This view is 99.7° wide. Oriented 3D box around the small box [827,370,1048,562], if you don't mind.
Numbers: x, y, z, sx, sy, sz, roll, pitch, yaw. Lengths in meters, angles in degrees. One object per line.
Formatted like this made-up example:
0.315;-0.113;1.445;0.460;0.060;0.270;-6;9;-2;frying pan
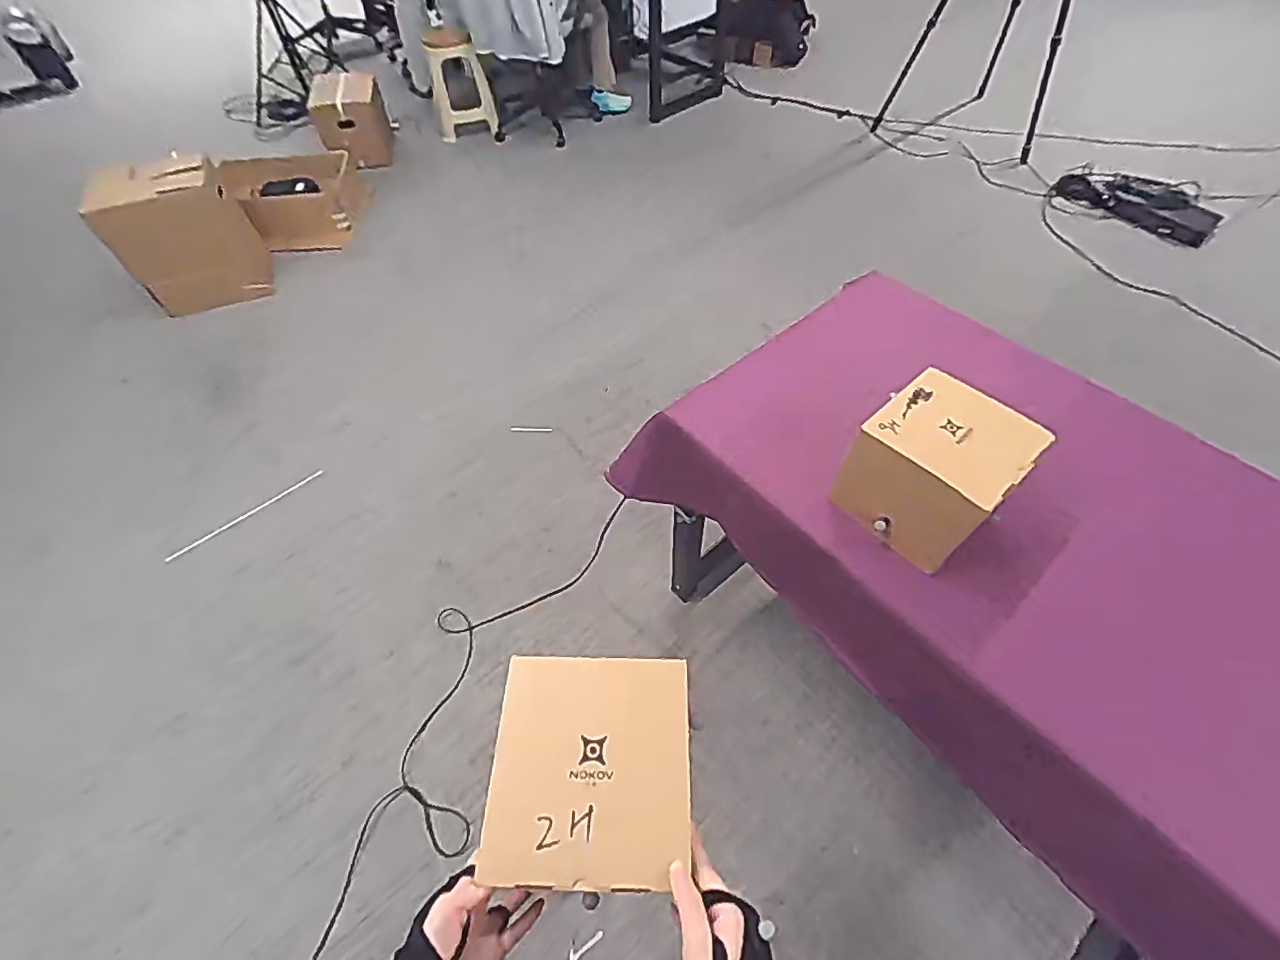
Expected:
0.392;-0.010;0.744;0.168;0.176;0.179;-36;62;-22;small box

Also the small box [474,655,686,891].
-0.043;0.285;0.525;0.168;0.176;0.179;1;55;2;small box
